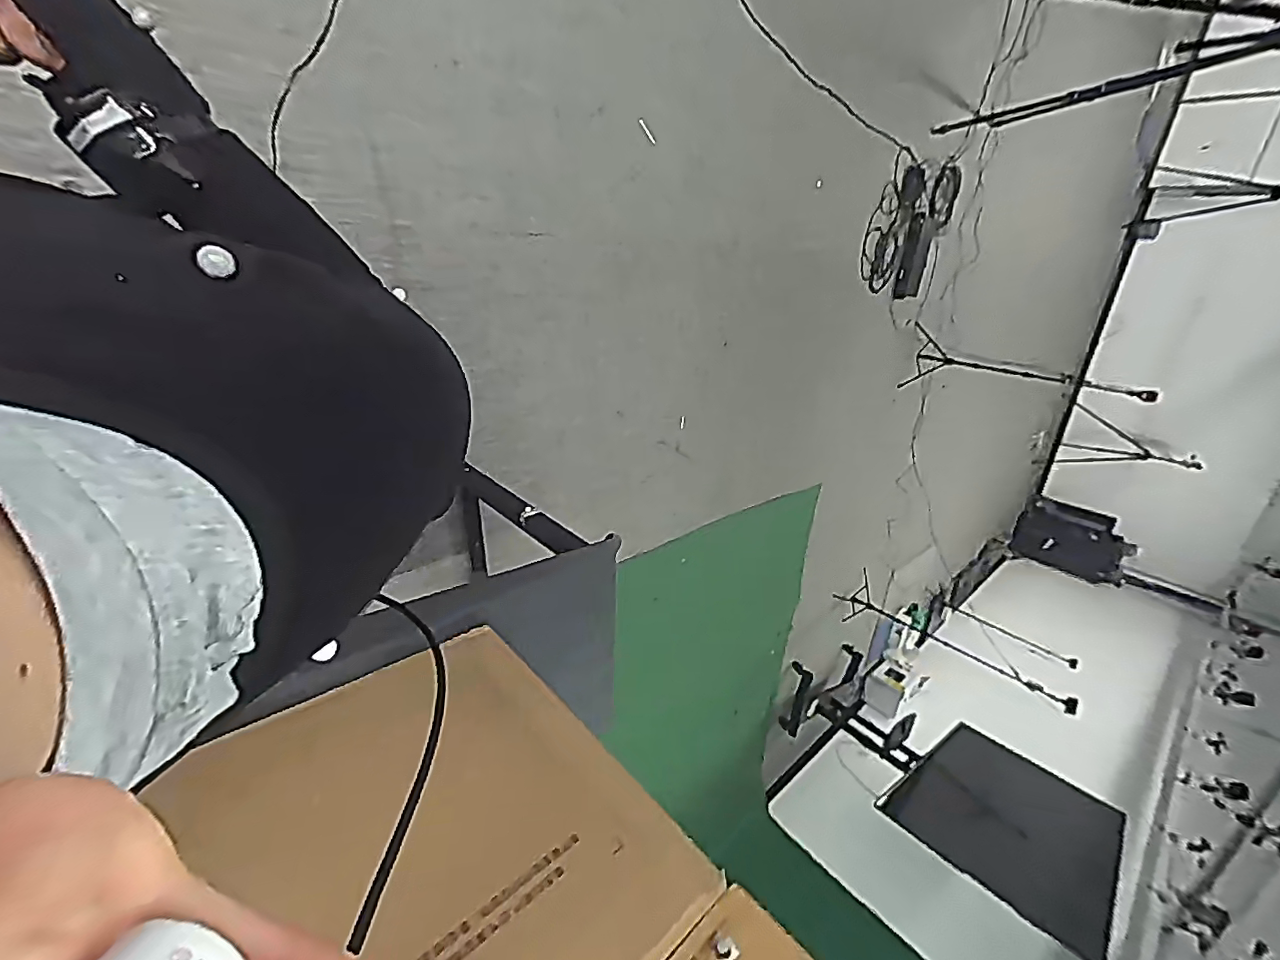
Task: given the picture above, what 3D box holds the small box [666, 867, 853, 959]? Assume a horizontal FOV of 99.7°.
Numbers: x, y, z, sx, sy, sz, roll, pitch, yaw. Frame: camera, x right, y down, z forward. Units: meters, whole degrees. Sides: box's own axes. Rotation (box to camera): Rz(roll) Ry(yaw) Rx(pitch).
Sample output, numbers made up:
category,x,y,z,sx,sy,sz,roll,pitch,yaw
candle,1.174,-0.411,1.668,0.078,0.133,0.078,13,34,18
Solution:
category,x,y,z,sx,sy,sz,roll,pitch,yaw
small box,0.138,0.614,0.634,0.168,0.176,0.179,-24,123,-39
